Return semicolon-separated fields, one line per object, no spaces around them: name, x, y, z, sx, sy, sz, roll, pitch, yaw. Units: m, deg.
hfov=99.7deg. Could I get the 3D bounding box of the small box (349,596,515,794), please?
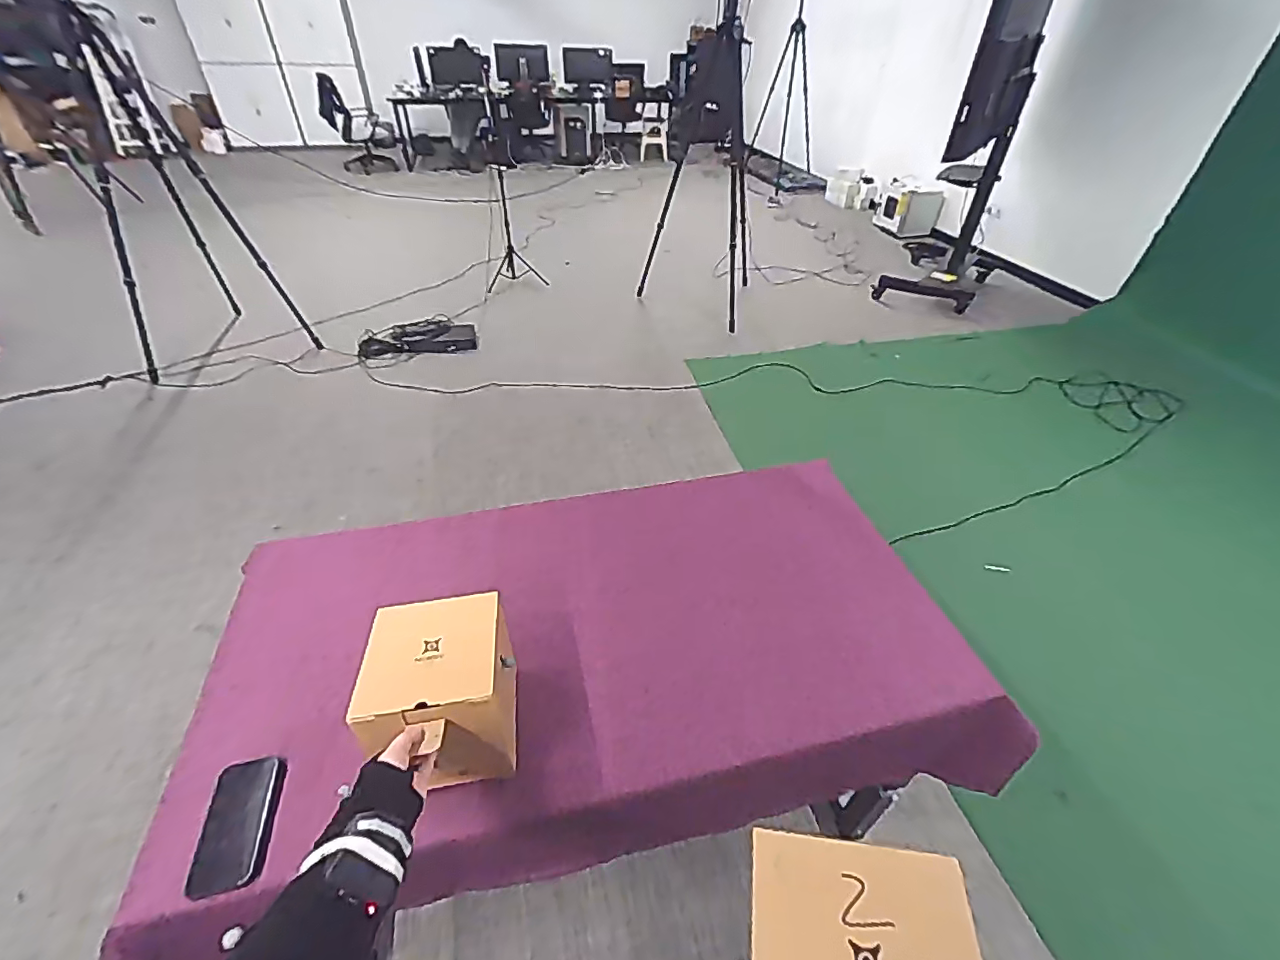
small box;-0.267;0.289;0.739;0.168;0.176;0.179;-7;35;-8
